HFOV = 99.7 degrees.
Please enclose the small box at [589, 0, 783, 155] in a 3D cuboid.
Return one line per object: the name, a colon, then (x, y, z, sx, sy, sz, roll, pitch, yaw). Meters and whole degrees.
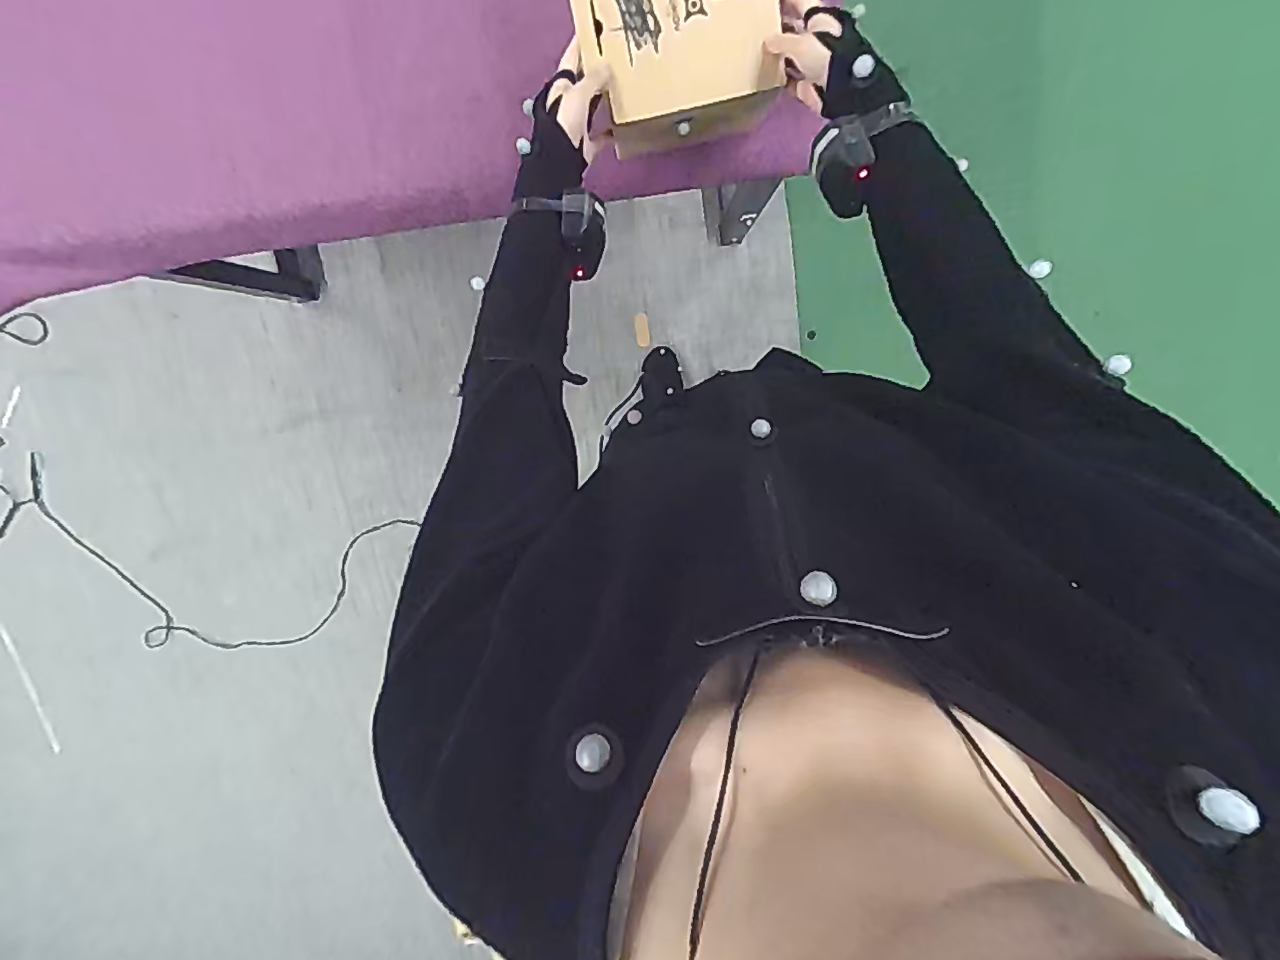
small box: (0.044, -0.474, 0.584, 0.179, 0.176, 0.168, -10, 109, 4)
